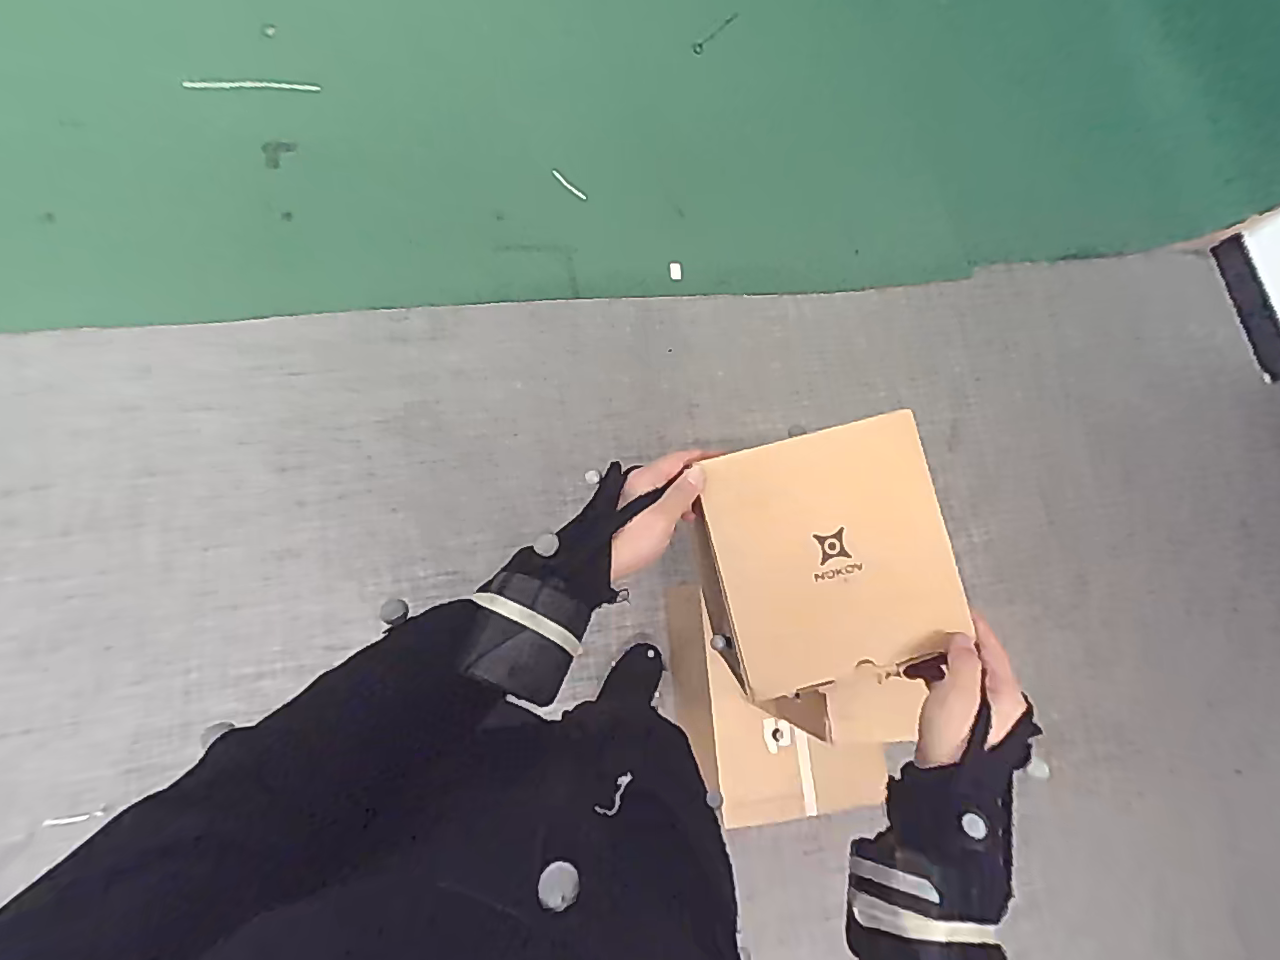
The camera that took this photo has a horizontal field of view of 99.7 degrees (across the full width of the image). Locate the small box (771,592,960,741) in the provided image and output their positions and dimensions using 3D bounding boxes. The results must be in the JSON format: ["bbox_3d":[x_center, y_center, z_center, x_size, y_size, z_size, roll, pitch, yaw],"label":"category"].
[{"bbox_3d":[0.286,0.238,0.729,0.179,0.176,0.168,0,80,-10],"label":"small box"}]

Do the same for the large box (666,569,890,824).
[{"bbox_3d":[0.251,0.403,1.109,0.320,0.320,0.408,-3,79,-9],"label":"large box"}]
